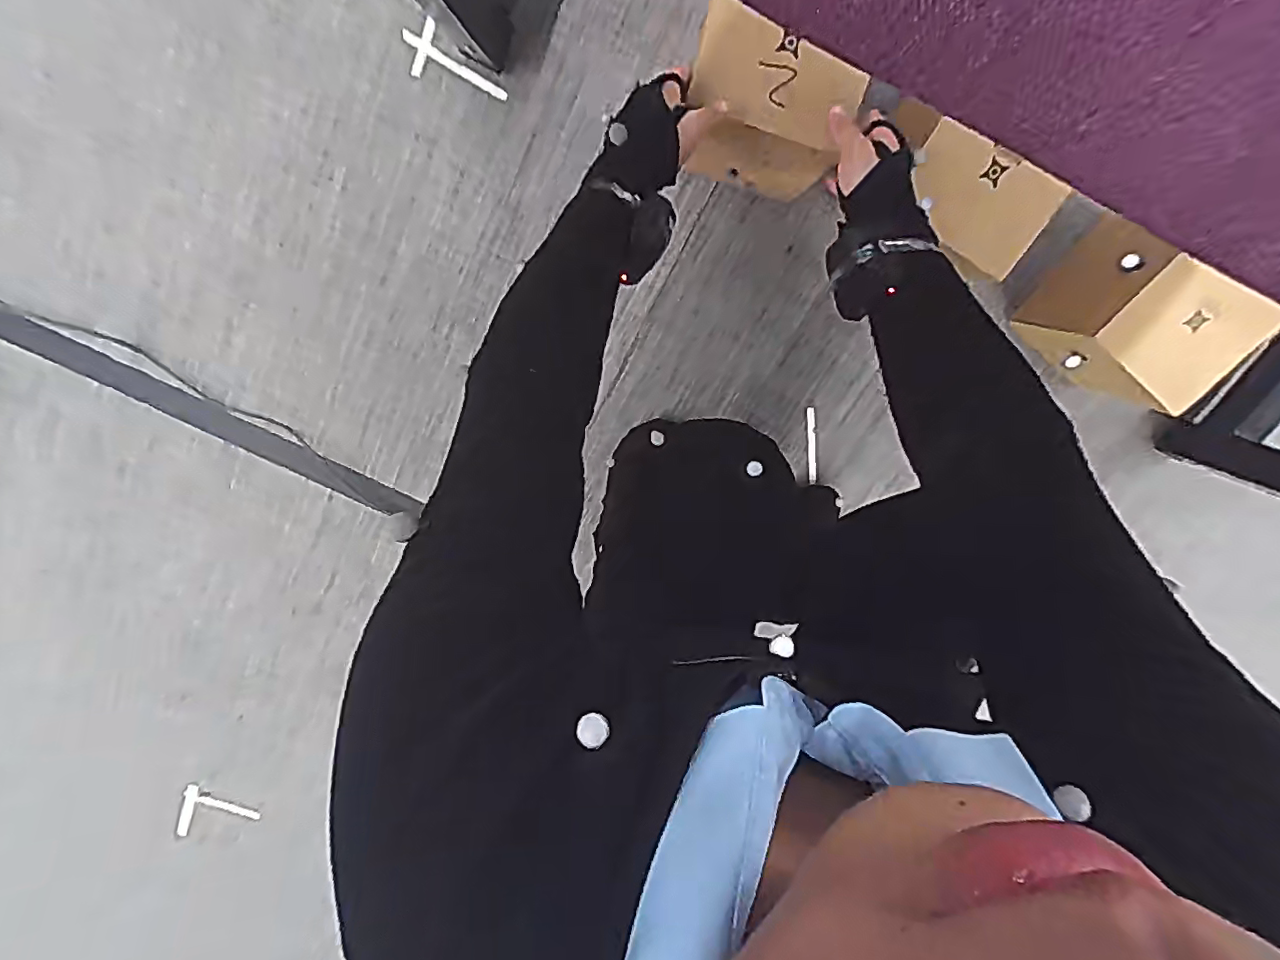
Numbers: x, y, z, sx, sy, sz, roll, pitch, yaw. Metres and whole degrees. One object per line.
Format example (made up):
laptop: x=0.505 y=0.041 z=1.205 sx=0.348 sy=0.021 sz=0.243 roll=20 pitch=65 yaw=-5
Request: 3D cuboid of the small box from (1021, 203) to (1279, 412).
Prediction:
small box: x=0.642 y=-0.220 z=0.698 sx=0.168 sy=0.176 sz=0.179 roll=34 pitch=108 yaw=-13

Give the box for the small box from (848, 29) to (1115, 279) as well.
small box: x=0.374 y=-0.360 z=0.637 sx=0.168 sy=0.176 sz=0.179 roll=27 pitch=109 yaw=-11
